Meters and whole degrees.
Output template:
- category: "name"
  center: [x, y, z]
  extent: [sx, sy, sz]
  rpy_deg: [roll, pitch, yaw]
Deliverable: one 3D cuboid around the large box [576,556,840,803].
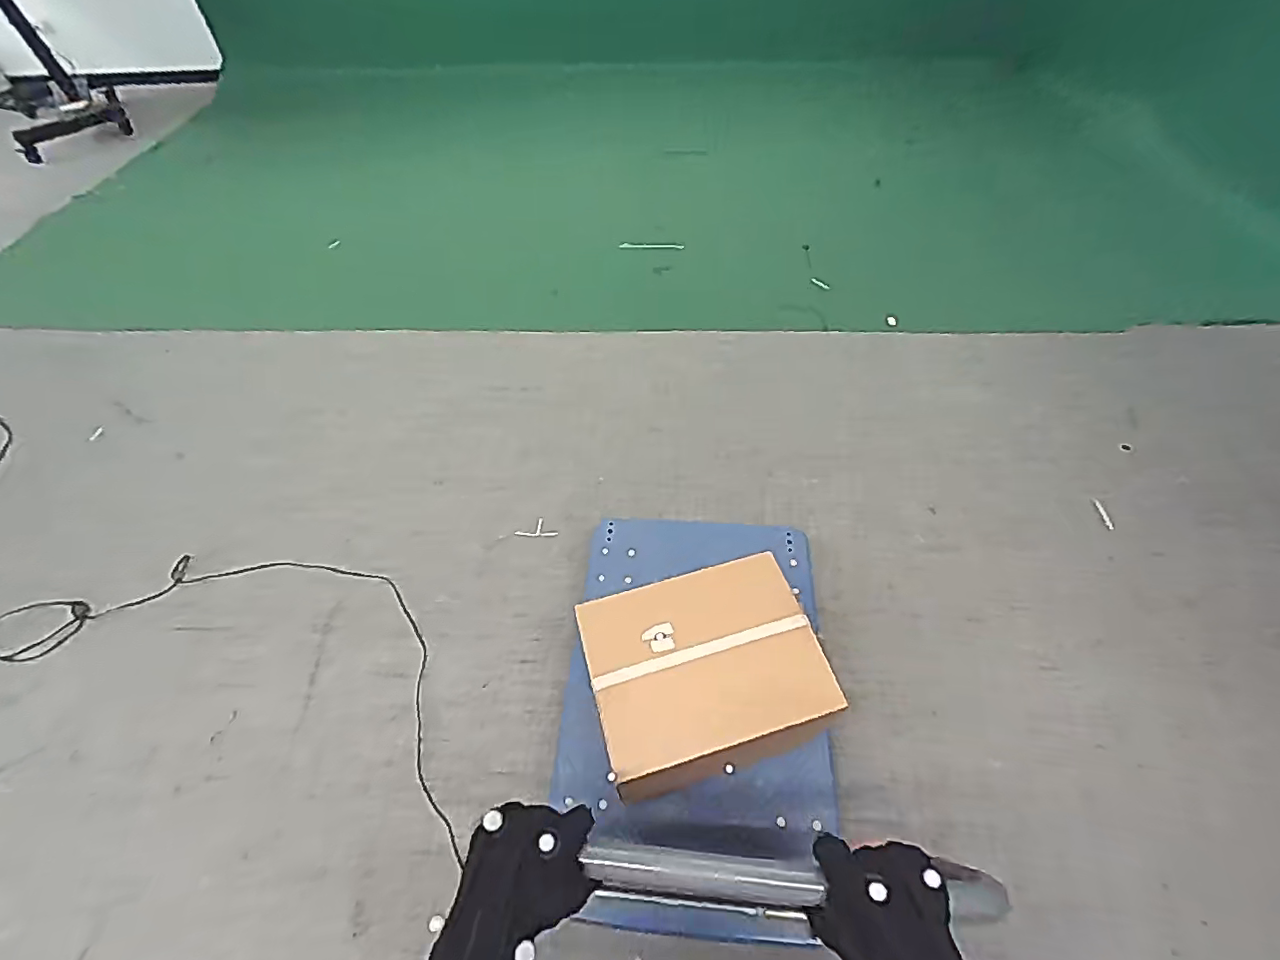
- category: "large box"
  center: [0.116, 0.406, 1.090]
  extent: [0.408, 0.320, 0.320]
  rpy_deg: [-15, 54, -8]
